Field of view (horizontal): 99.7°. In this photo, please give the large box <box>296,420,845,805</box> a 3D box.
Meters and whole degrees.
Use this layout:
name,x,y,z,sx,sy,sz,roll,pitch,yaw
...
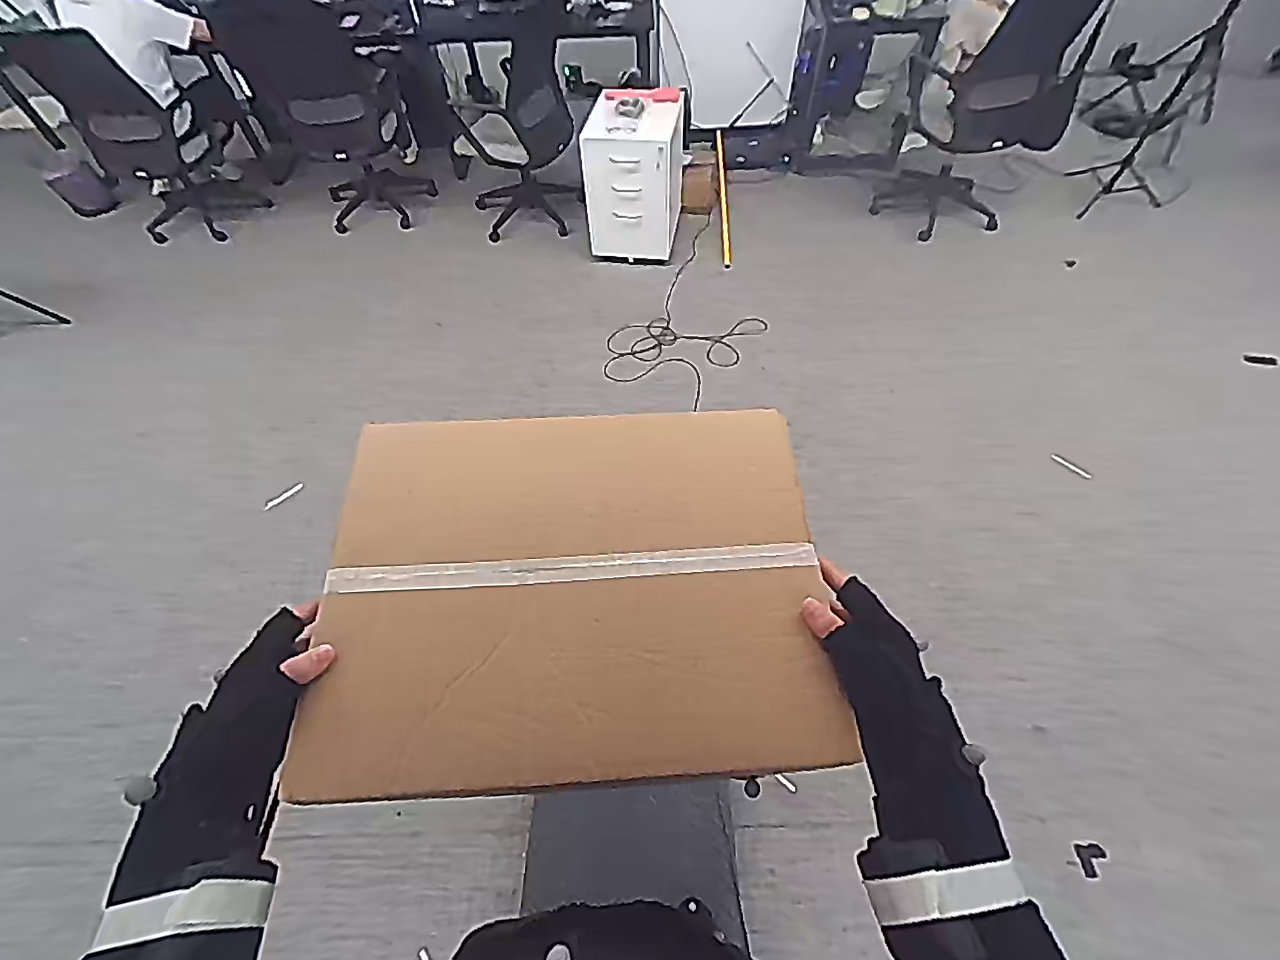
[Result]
name,x,y,z,sx,sy,sz,roll,pitch,yaw
large box,-0.057,0.154,0.589,0.408,0.320,0.320,-2,60,-3
